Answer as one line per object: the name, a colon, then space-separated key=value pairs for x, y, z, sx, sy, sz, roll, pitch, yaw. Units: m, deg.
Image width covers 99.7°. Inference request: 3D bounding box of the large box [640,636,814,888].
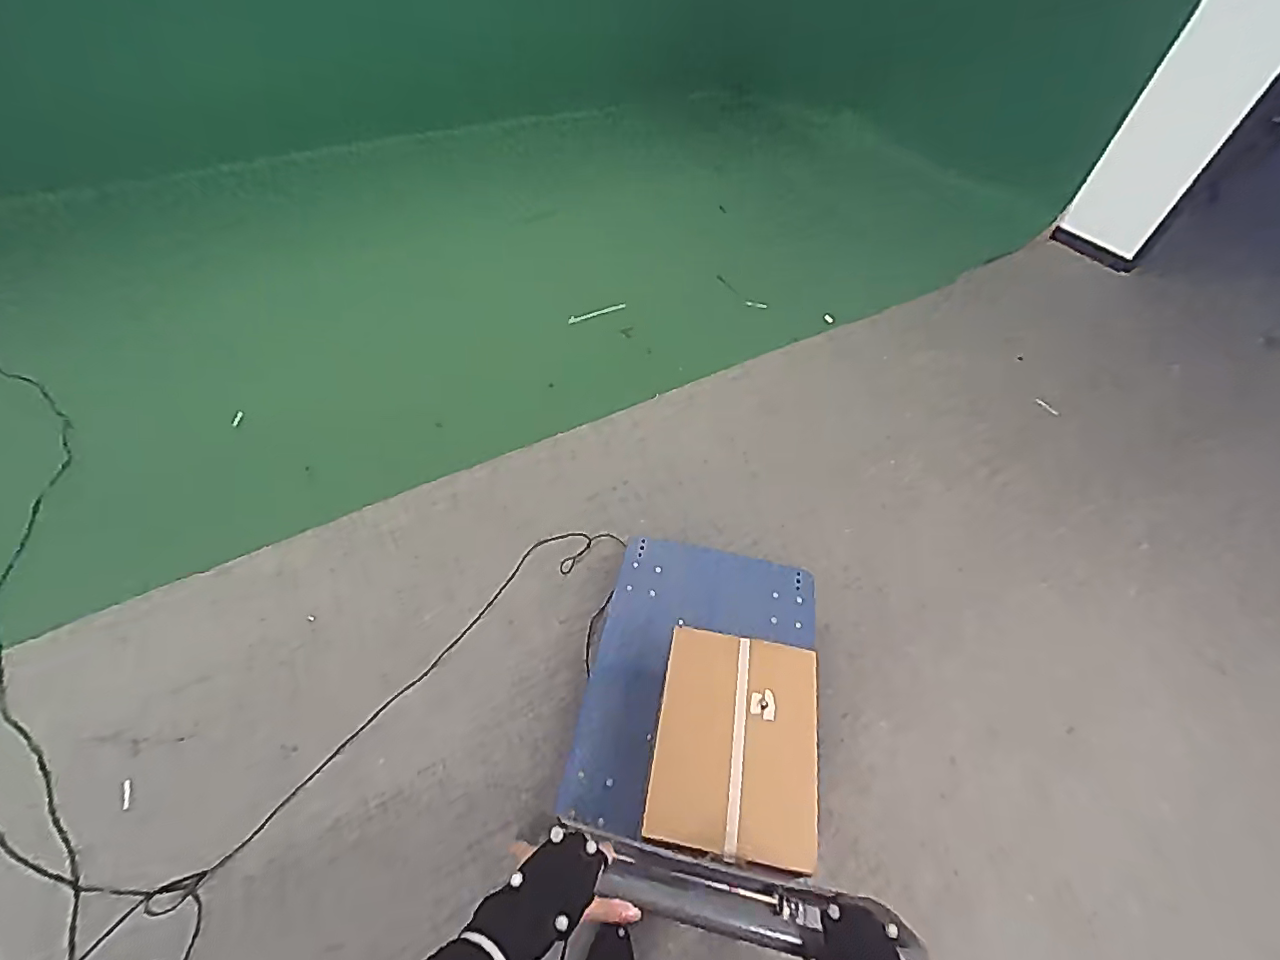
large box: x=0.183 y=0.619 z=1.194 sx=0.320 sy=0.320 sz=0.408 roll=10 pitch=51 yaw=5
